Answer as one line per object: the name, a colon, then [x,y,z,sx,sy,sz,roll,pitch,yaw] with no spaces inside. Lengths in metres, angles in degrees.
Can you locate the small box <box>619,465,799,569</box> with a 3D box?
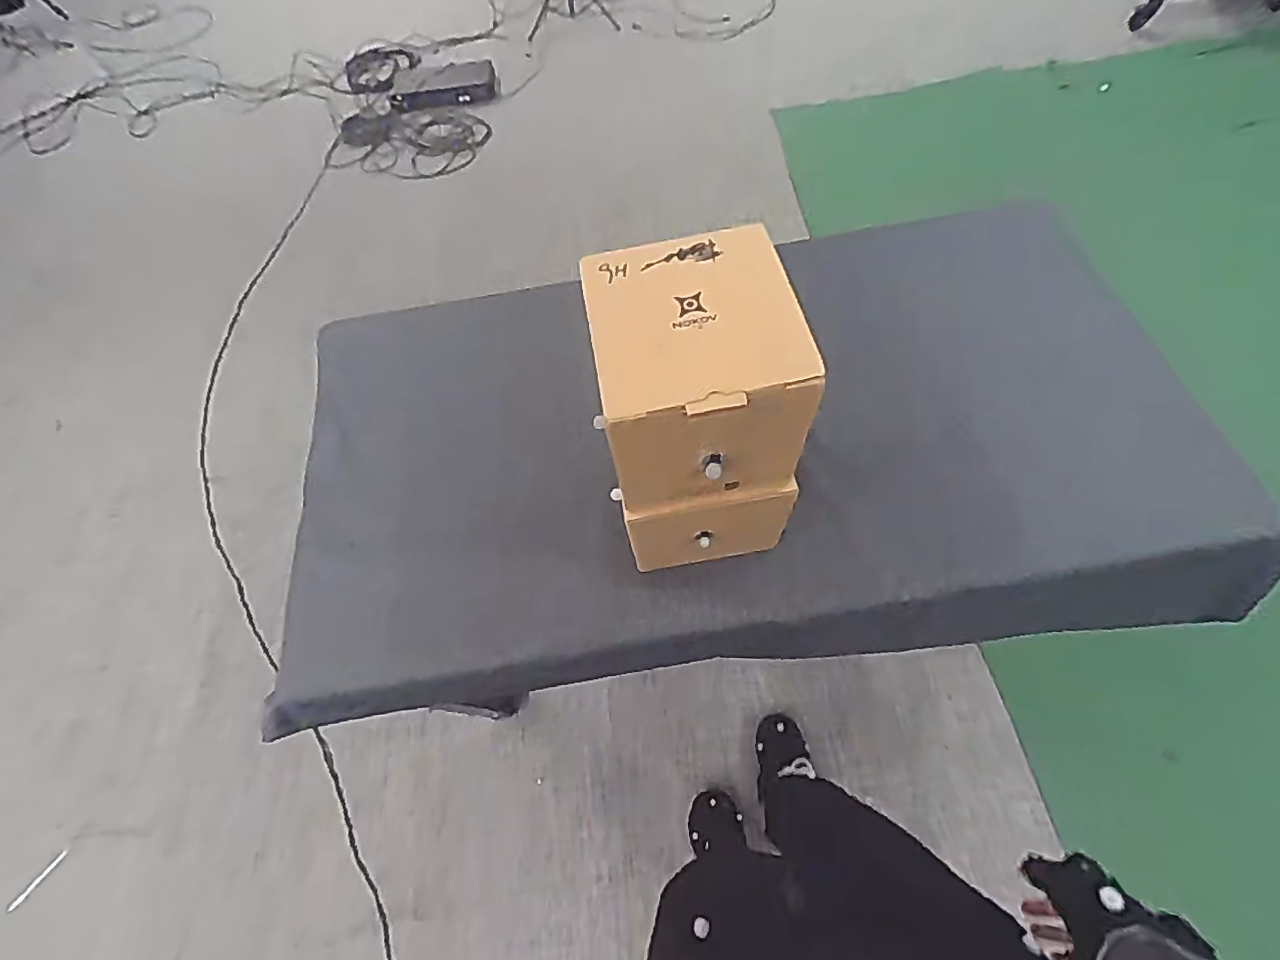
small box: [0.067,-0.007,0.640,0.179,0.176,0.168,-11,62,1]

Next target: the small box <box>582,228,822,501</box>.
small box: [0.049,-0.092,0.501,0.168,0.176,0.179,-10,63,0]
